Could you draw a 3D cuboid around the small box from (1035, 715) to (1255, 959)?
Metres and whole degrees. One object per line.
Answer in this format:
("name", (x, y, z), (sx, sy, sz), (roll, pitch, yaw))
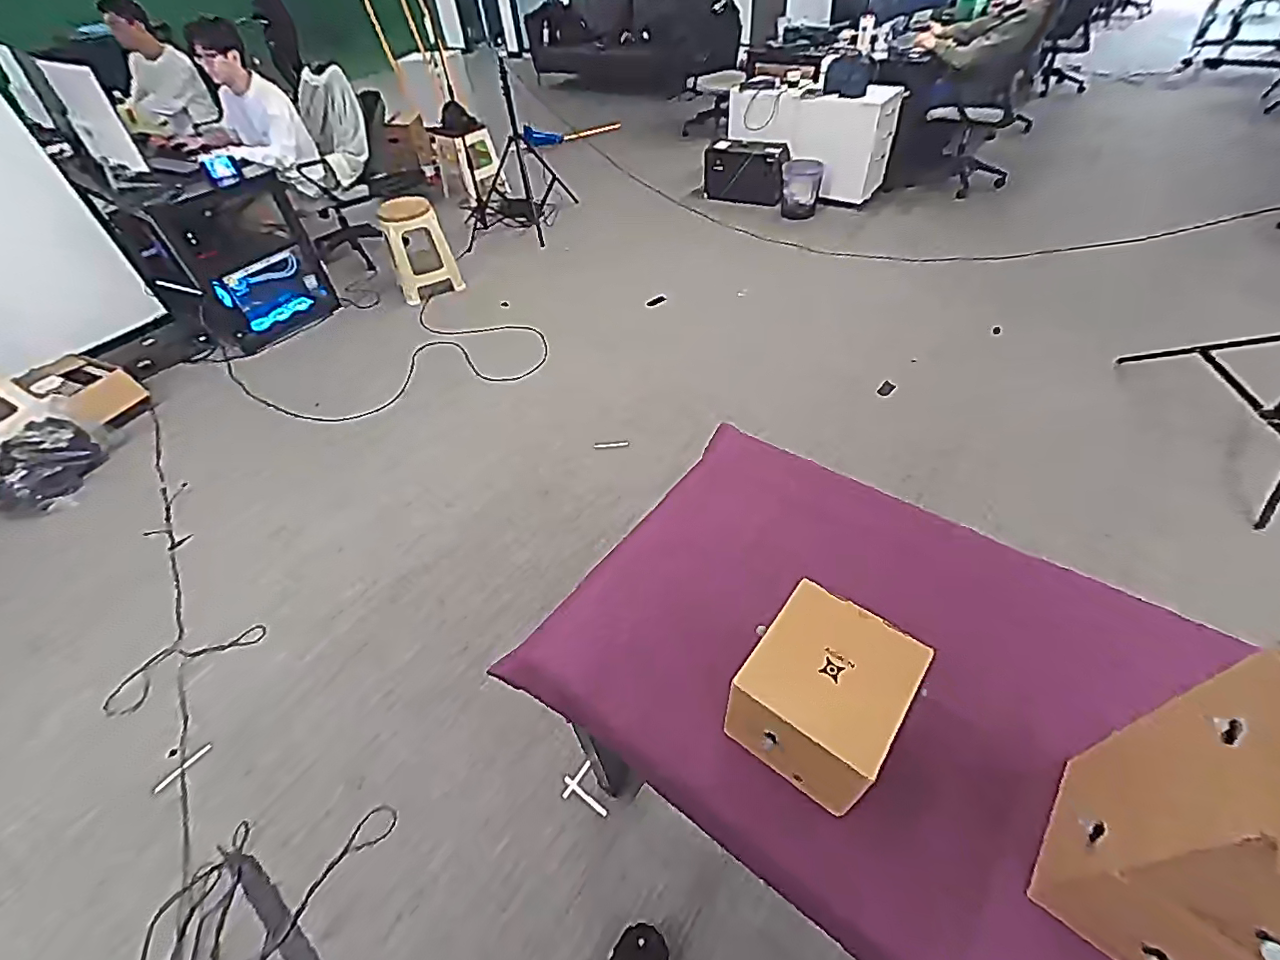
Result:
("small box", (0.531, 0.380, 0.533), (0.168, 0.176, 0.179), (30, 56, 28))

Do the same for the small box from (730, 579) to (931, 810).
("small box", (0.224, 0.265, 0.669), (0.168, 0.176, 0.179), (28, 54, 27))

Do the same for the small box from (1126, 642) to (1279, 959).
("small box", (0.526, 0.267, 0.414), (0.168, 0.176, 0.179), (30, 56, 29))
